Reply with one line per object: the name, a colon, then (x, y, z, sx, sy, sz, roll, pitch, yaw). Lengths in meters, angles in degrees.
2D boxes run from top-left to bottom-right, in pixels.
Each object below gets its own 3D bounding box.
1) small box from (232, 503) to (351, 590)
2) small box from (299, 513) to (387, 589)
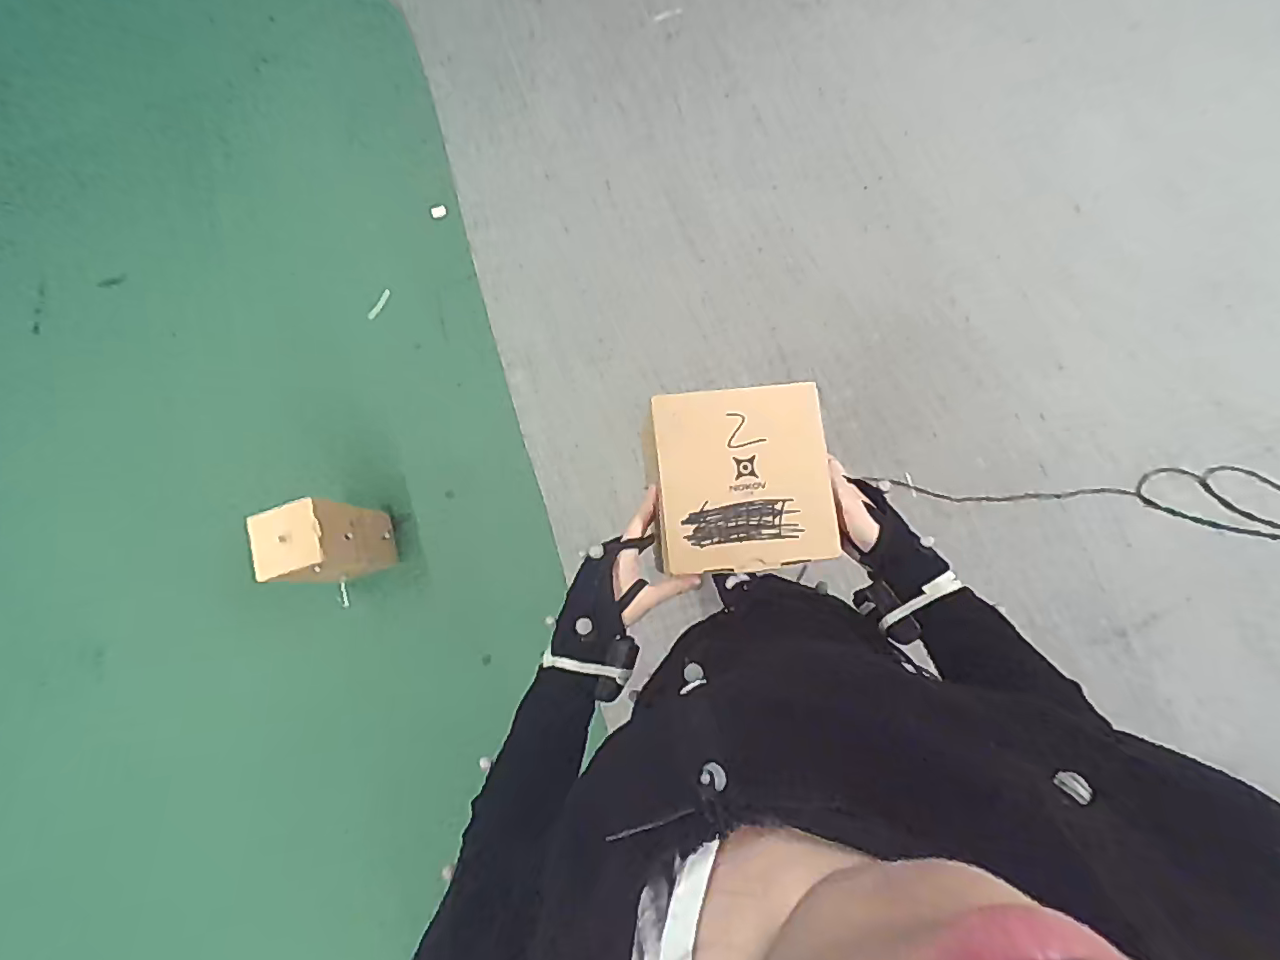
small box: (-0.863, 0.173, 1.350, 0.179, 0.176, 0.168, -19, 77, 2)
small box: (-0.845, 0.204, 1.508, 0.179, 0.176, 0.168, -18, 79, 2)
